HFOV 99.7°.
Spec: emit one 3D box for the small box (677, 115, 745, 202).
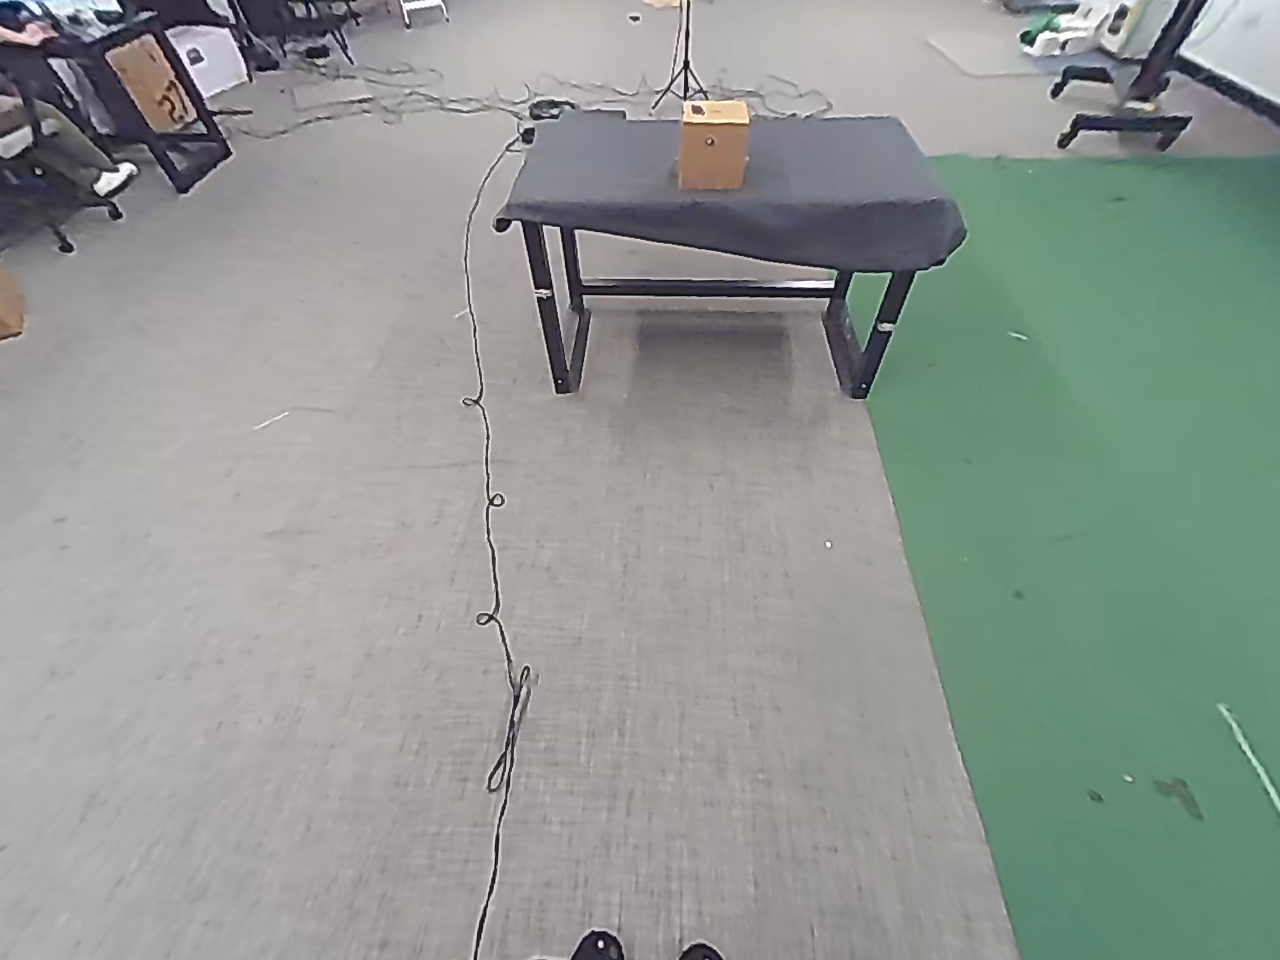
[{"bbox_3d":[0.196,-0.907,1.529,0.179,0.176,0.168,2,52,3],"label":"small box"}]
